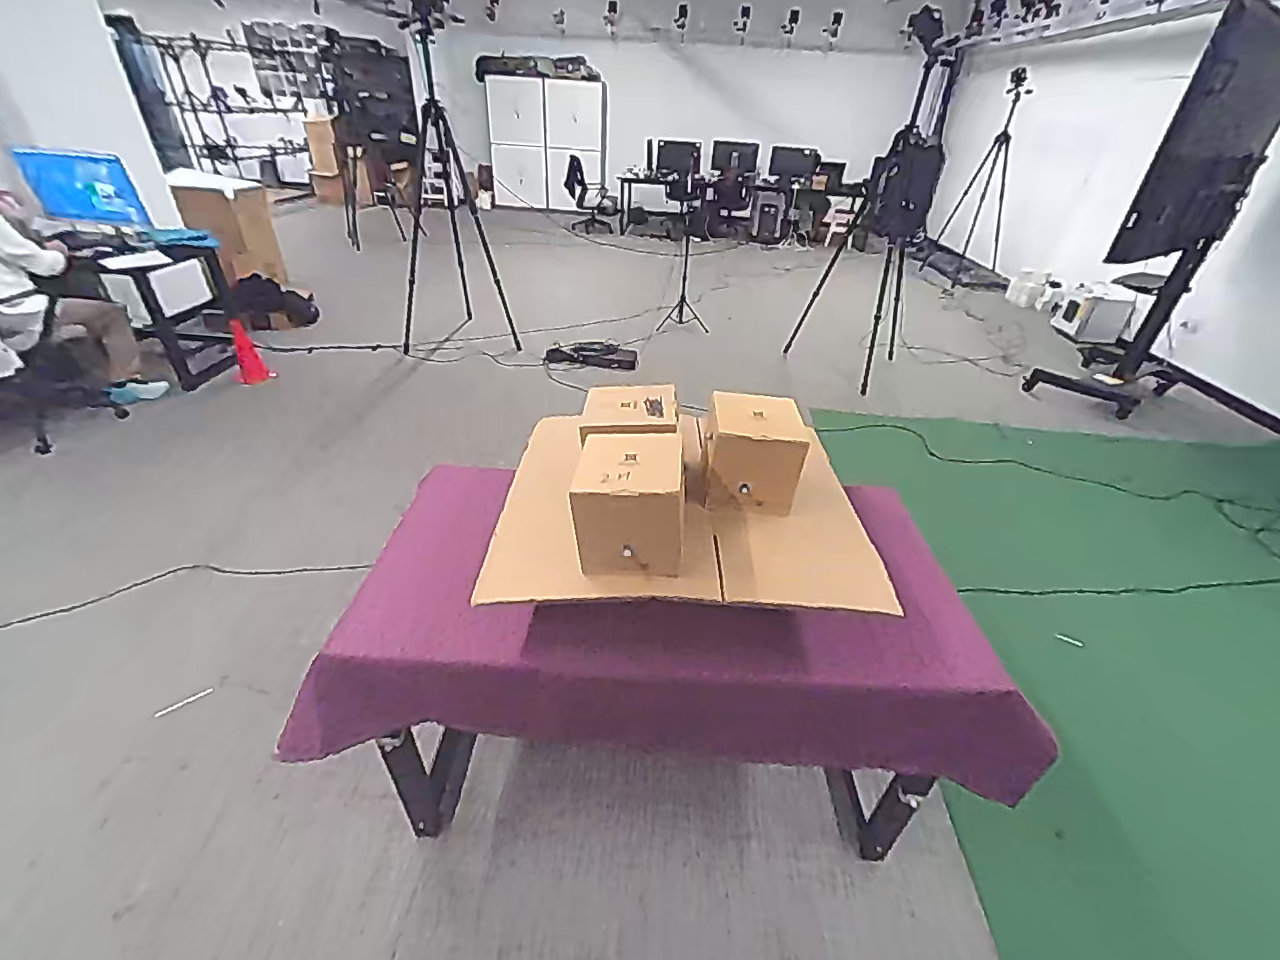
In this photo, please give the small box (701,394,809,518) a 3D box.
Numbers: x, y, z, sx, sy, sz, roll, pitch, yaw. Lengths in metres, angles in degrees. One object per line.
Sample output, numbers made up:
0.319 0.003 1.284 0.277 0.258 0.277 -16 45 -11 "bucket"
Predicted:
0.214 -0.049 1.061 0.168 0.176 0.179 6 35 0 "small box"
